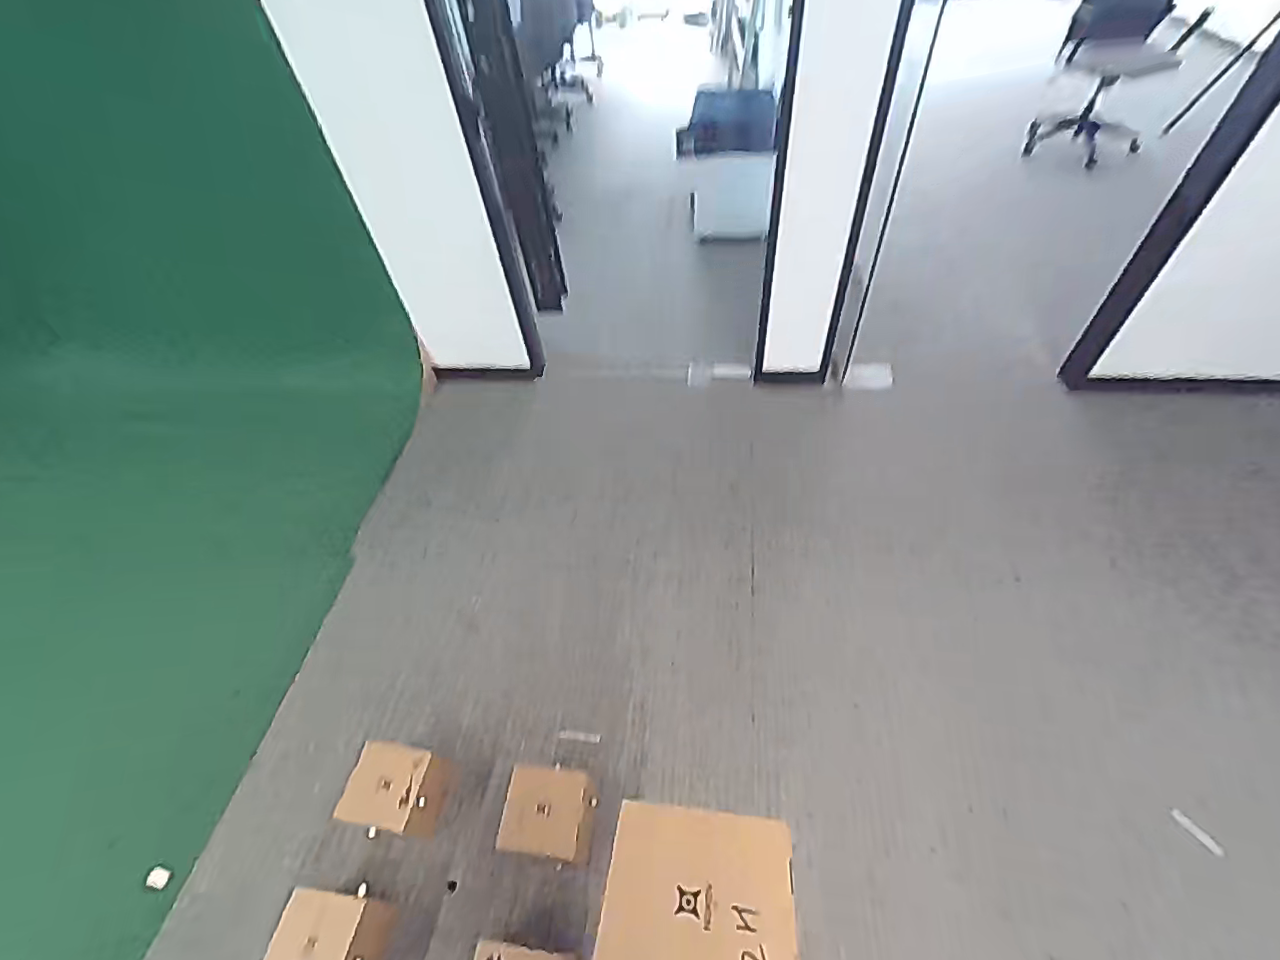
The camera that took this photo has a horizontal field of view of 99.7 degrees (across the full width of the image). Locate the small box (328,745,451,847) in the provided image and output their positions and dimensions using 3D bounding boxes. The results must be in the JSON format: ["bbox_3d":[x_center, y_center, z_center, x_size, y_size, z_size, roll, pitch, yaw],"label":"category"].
[{"bbox_3d":[-0.585,0.754,1.286,0.179,0.176,0.168,5,50,10],"label":"small box"}]

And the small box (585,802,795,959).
[{"bbox_3d":[0.053,0.448,0.522,0.179,0.176,0.168,3,35,10],"label":"small box"}]

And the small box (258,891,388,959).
[{"bbox_3d":[-0.649,0.970,1.104,0.168,0.176,0.179,4,49,9],"label":"small box"}]

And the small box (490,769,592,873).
[{"bbox_3d":[-0.213,0.778,1.231,0.179,0.176,0.168,3,49,8],"label":"small box"}]
